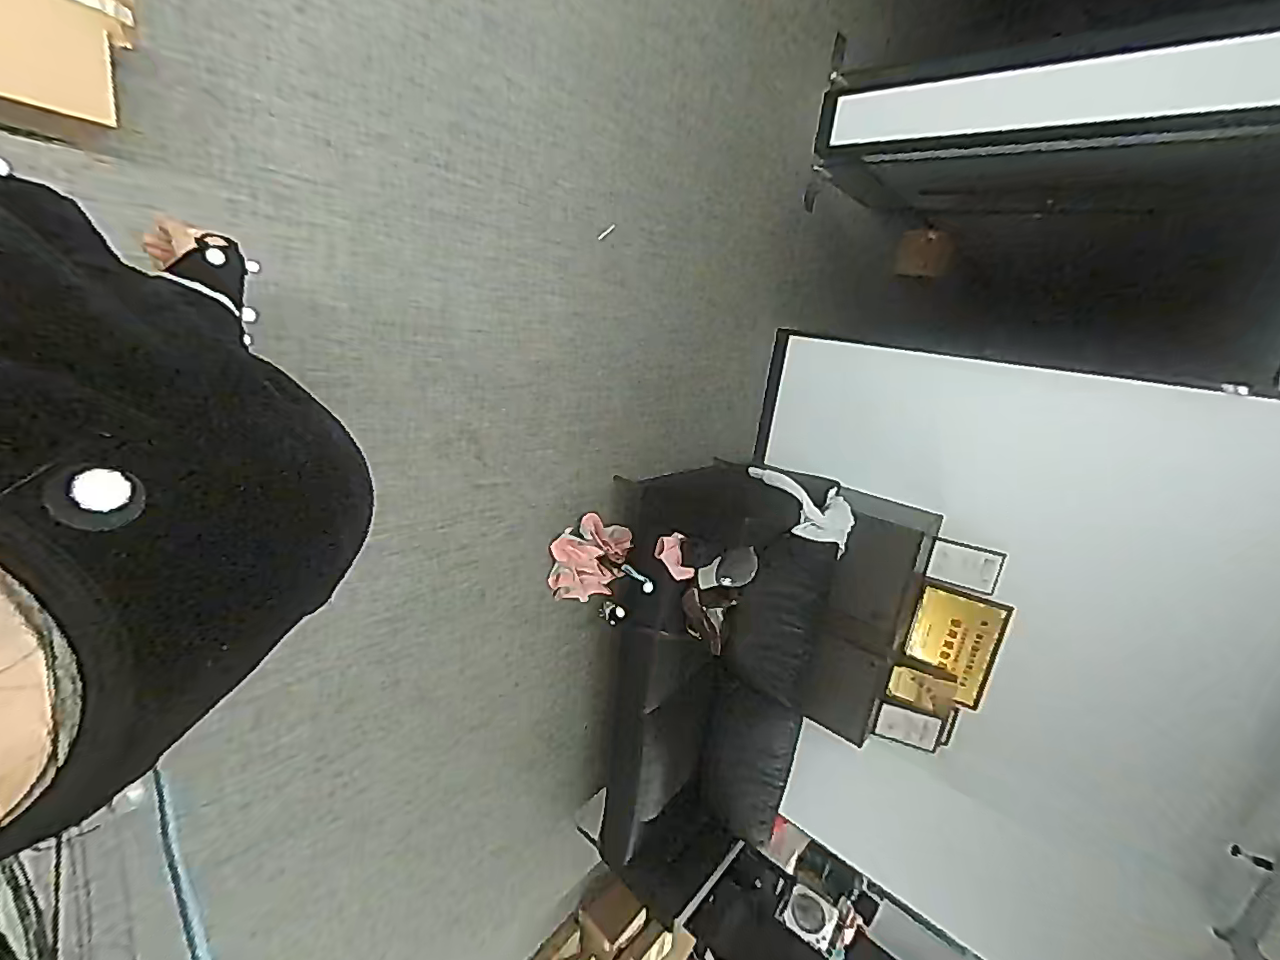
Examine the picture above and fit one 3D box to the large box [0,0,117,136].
[{"bbox_3d":[-1.016,-0.706,0.724,0.408,0.320,0.320,-10,114,-49],"label":"large box"}]
